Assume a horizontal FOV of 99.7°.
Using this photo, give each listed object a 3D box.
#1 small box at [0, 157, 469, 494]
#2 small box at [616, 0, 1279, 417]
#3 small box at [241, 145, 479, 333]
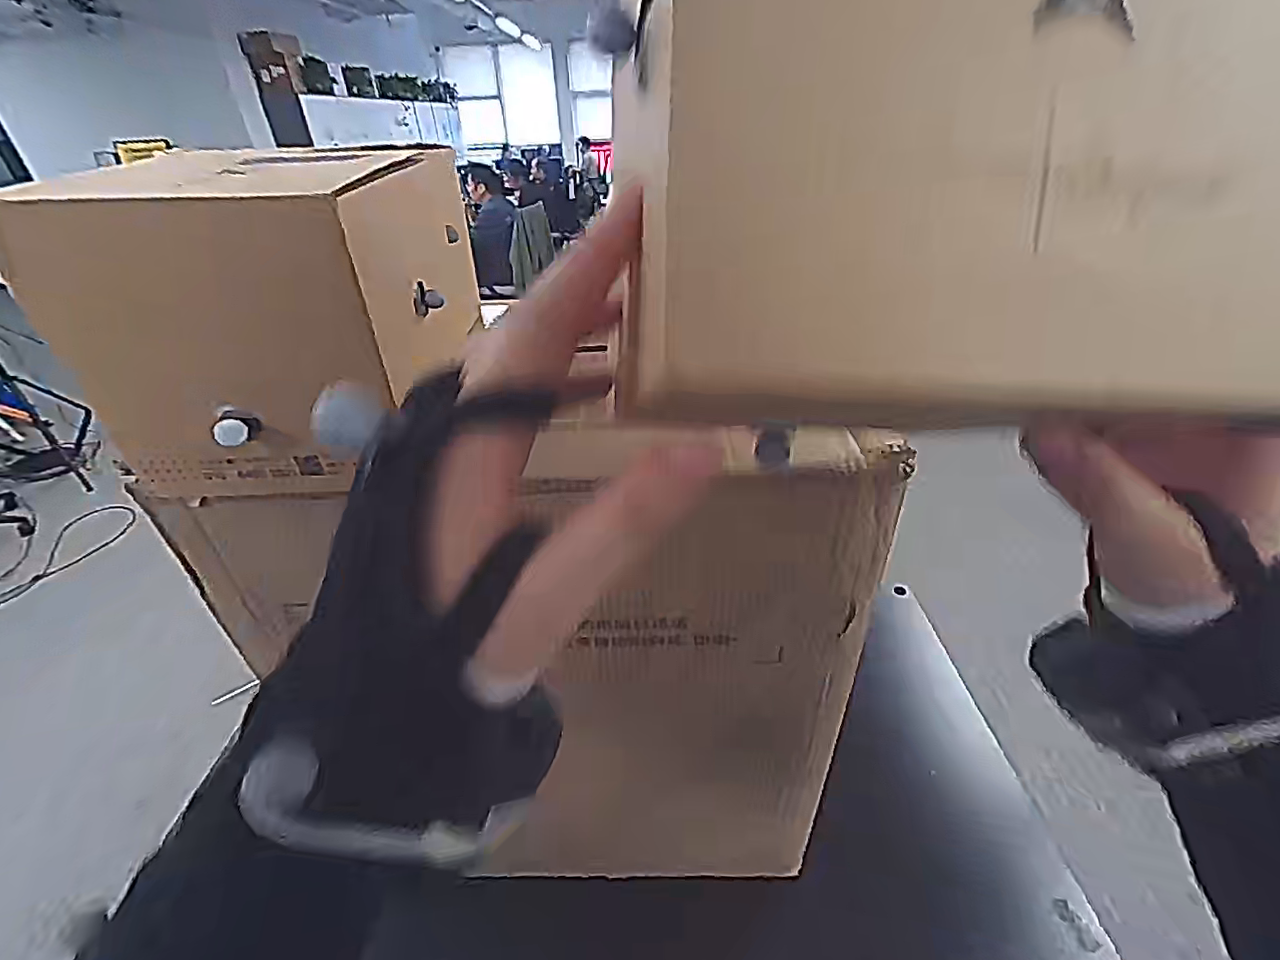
[{"bbox_3d":[-0.222,-0.108,0.359,0.168,0.176,0.179,-2,37,-2],"label":"small box"},{"bbox_3d":[0.079,-0.118,0.193,0.168,0.179,0.176,0,3,-6],"label":"small box"},{"bbox_3d":[-0.260,-0.212,0.514,0.168,0.176,0.179,-3,33,-3],"label":"small box"}]
